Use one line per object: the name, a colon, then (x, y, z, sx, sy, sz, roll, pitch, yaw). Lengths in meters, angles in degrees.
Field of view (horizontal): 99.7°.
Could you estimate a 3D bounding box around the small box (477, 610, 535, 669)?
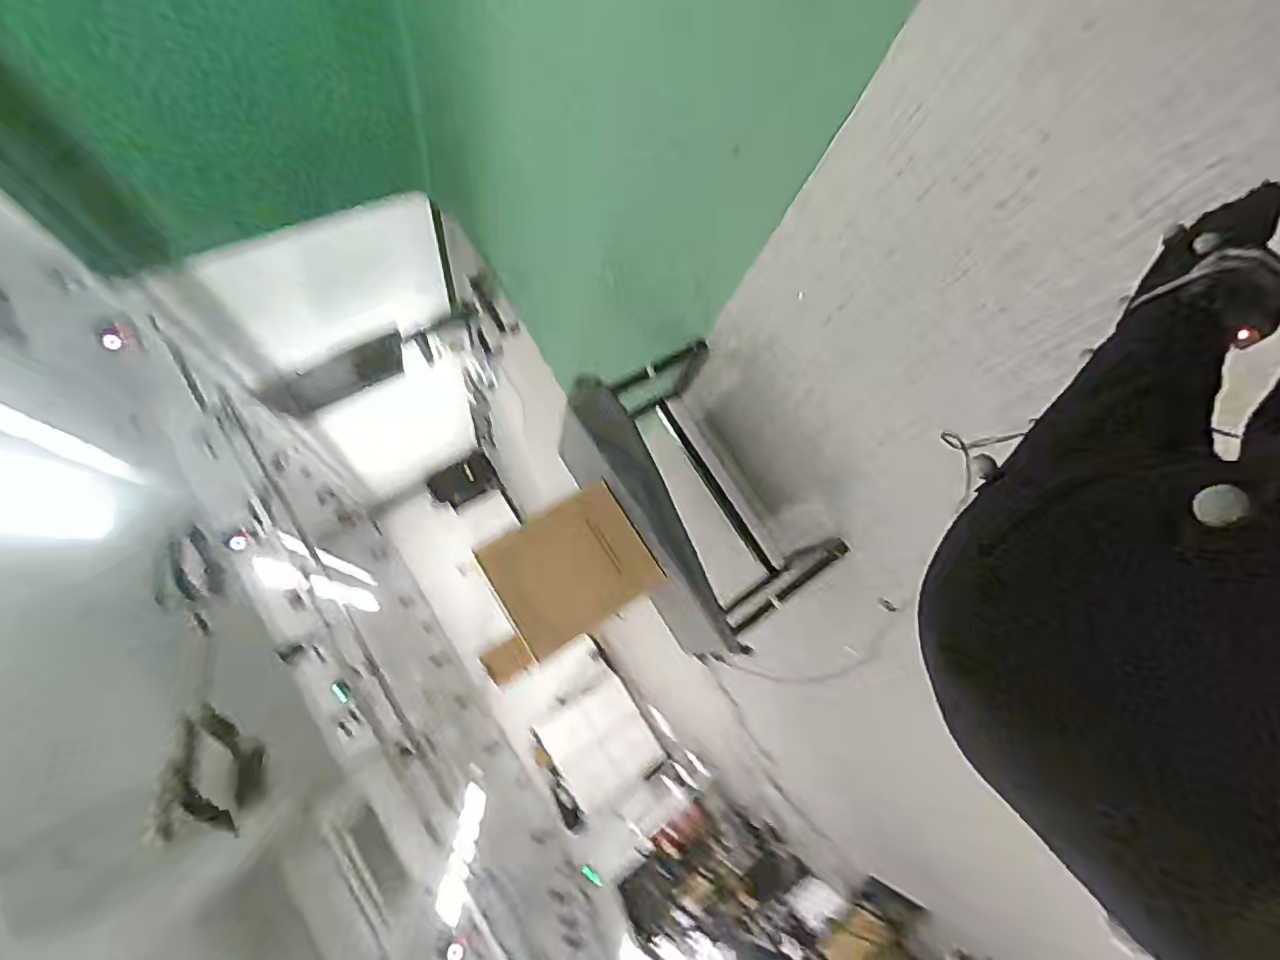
small box: (-0.537, 0.641, 2.180, 0.168, 0.176, 0.179, 53, 159, 10)
